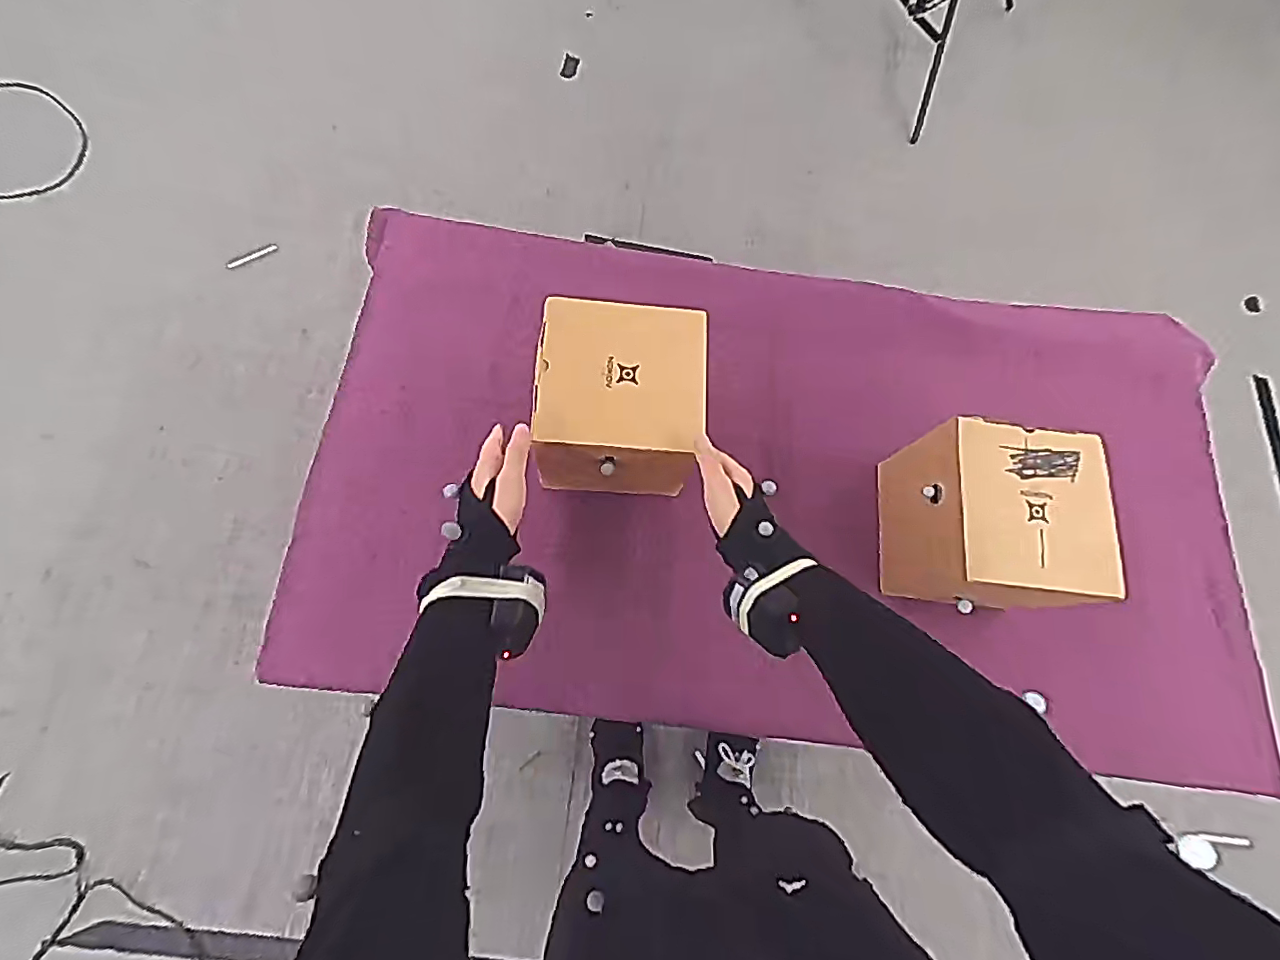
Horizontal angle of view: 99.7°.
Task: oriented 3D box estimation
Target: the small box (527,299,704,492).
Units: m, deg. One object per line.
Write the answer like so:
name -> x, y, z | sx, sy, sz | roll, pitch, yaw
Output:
small box -> -0.028, -0.086, 0.635 | 0.179, 0.176, 0.168 | 4, 74, -4

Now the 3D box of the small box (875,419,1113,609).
small box -> 0.393, 0.050, 0.634 | 0.168, 0.176, 0.179 | 7, 74, -3
